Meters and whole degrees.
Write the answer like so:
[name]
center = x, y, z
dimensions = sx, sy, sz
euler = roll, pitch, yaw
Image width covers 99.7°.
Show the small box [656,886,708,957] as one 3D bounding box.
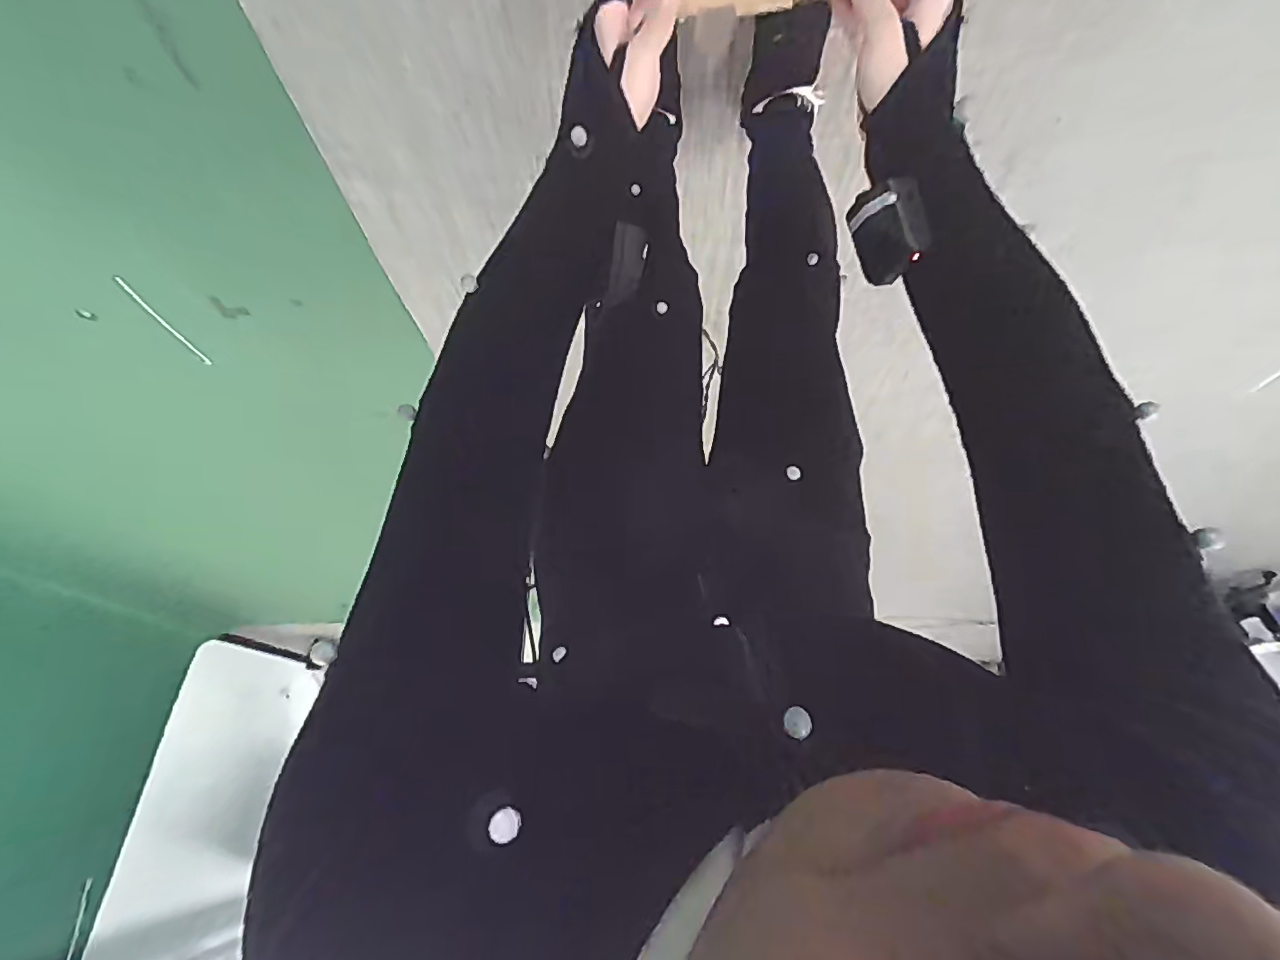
[small box]
center = 0.146, 1.562, 1.922
dimensions = 0.179, 0.176, 0.168
euler = -1, 154, 2
